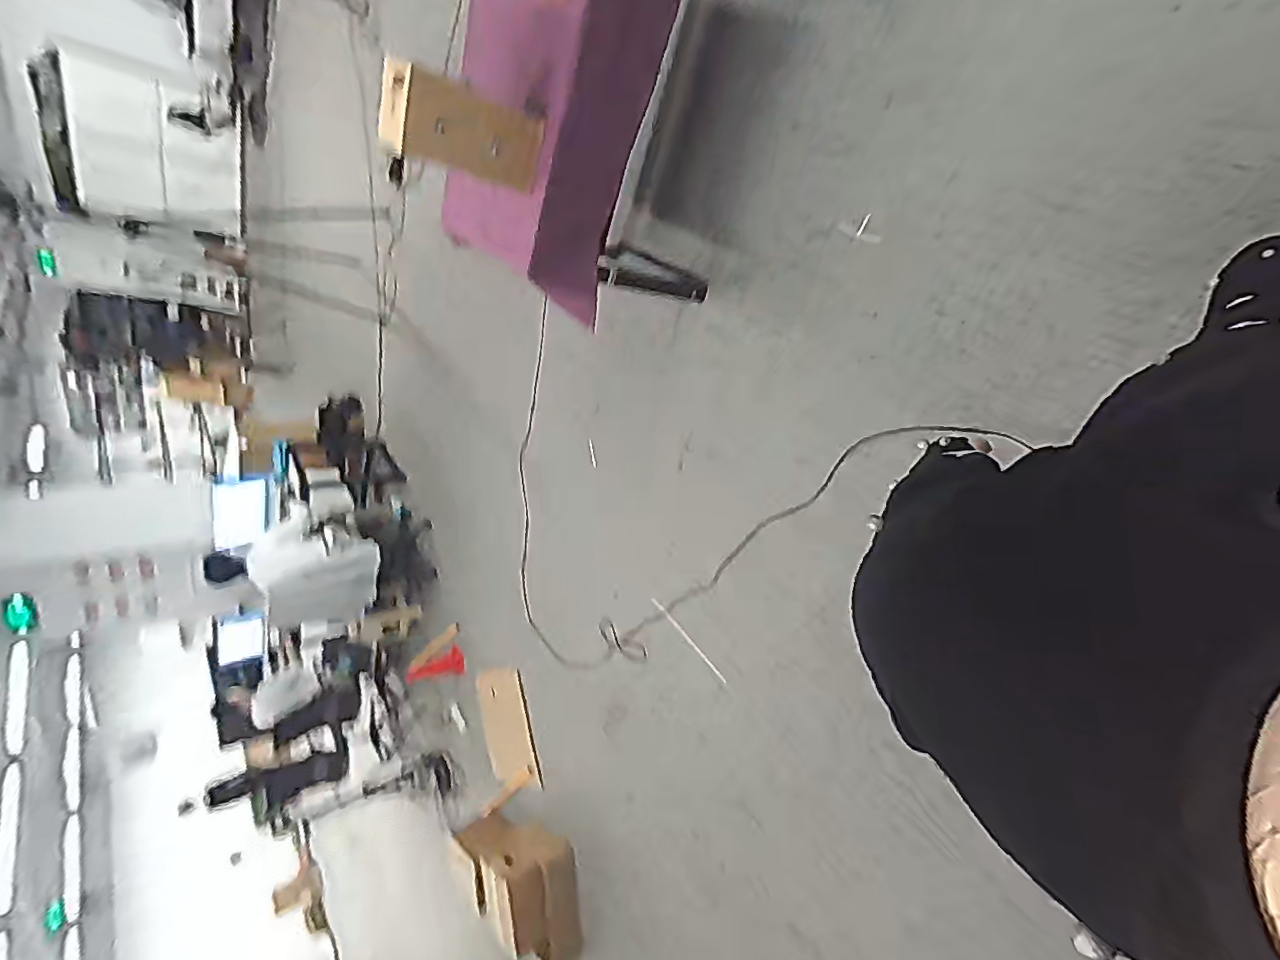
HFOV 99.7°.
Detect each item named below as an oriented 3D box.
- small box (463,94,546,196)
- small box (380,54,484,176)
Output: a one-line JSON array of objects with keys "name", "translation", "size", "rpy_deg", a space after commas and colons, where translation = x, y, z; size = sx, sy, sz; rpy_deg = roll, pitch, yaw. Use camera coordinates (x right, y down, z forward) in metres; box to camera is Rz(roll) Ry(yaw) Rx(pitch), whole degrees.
[{"name": "small box", "translation": [-0.360, -0.846, 1.365], "size": [0.168, 0.176, 0.179], "rpy_deg": [45, 124, 34]}, {"name": "small box", "translation": [-0.479, -0.839, 1.253], "size": [0.168, 0.176, 0.179], "rpy_deg": [44, 126, 34]}]
